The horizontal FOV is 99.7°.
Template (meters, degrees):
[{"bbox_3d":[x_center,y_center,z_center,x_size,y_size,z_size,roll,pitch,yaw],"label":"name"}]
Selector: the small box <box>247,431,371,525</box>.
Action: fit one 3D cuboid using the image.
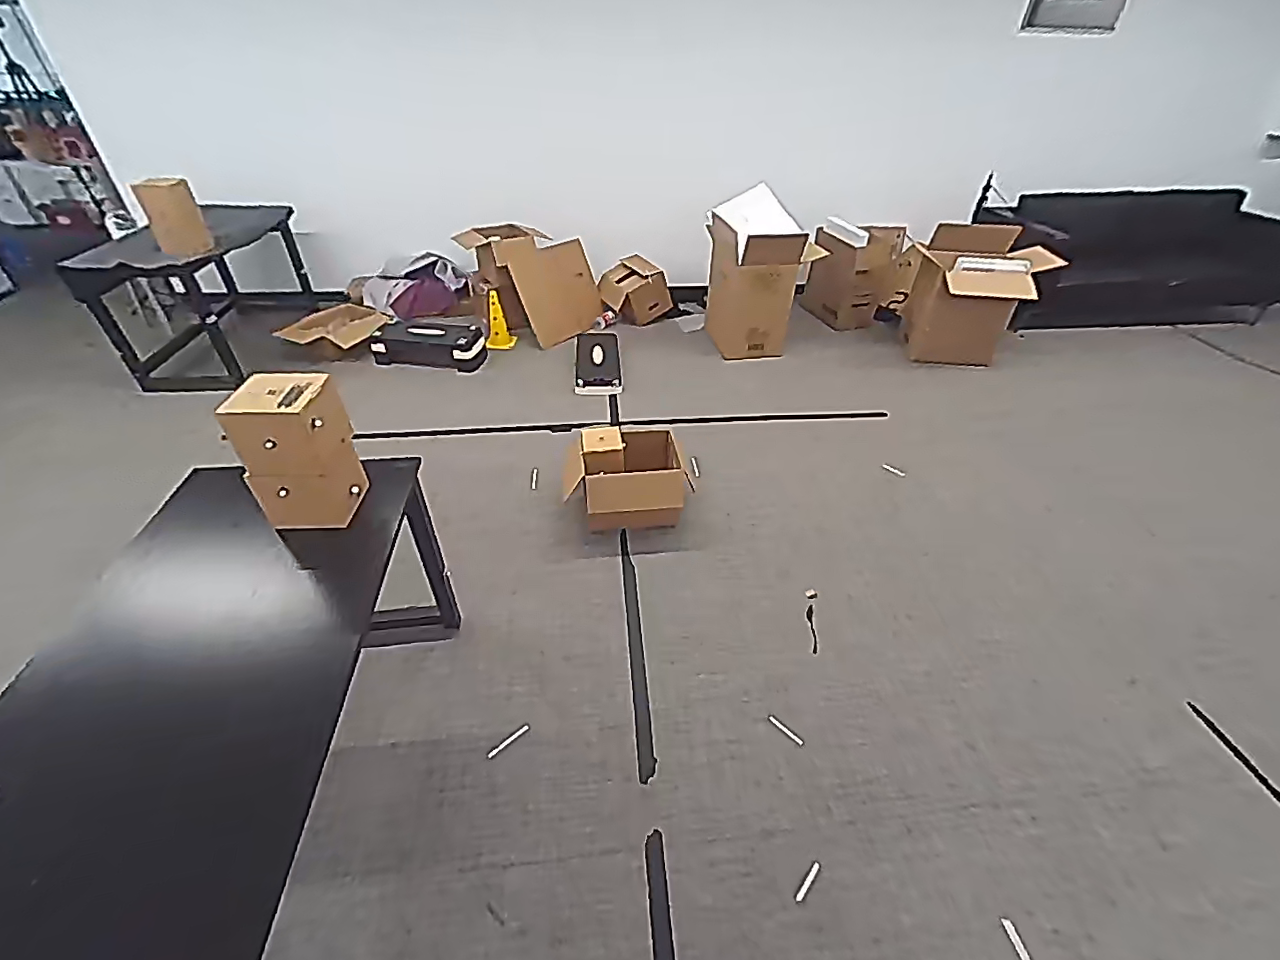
[{"bbox_3d":[-0.793,-0.003,1.316,0.179,0.176,0.168,0,40,-2],"label":"small box"}]
